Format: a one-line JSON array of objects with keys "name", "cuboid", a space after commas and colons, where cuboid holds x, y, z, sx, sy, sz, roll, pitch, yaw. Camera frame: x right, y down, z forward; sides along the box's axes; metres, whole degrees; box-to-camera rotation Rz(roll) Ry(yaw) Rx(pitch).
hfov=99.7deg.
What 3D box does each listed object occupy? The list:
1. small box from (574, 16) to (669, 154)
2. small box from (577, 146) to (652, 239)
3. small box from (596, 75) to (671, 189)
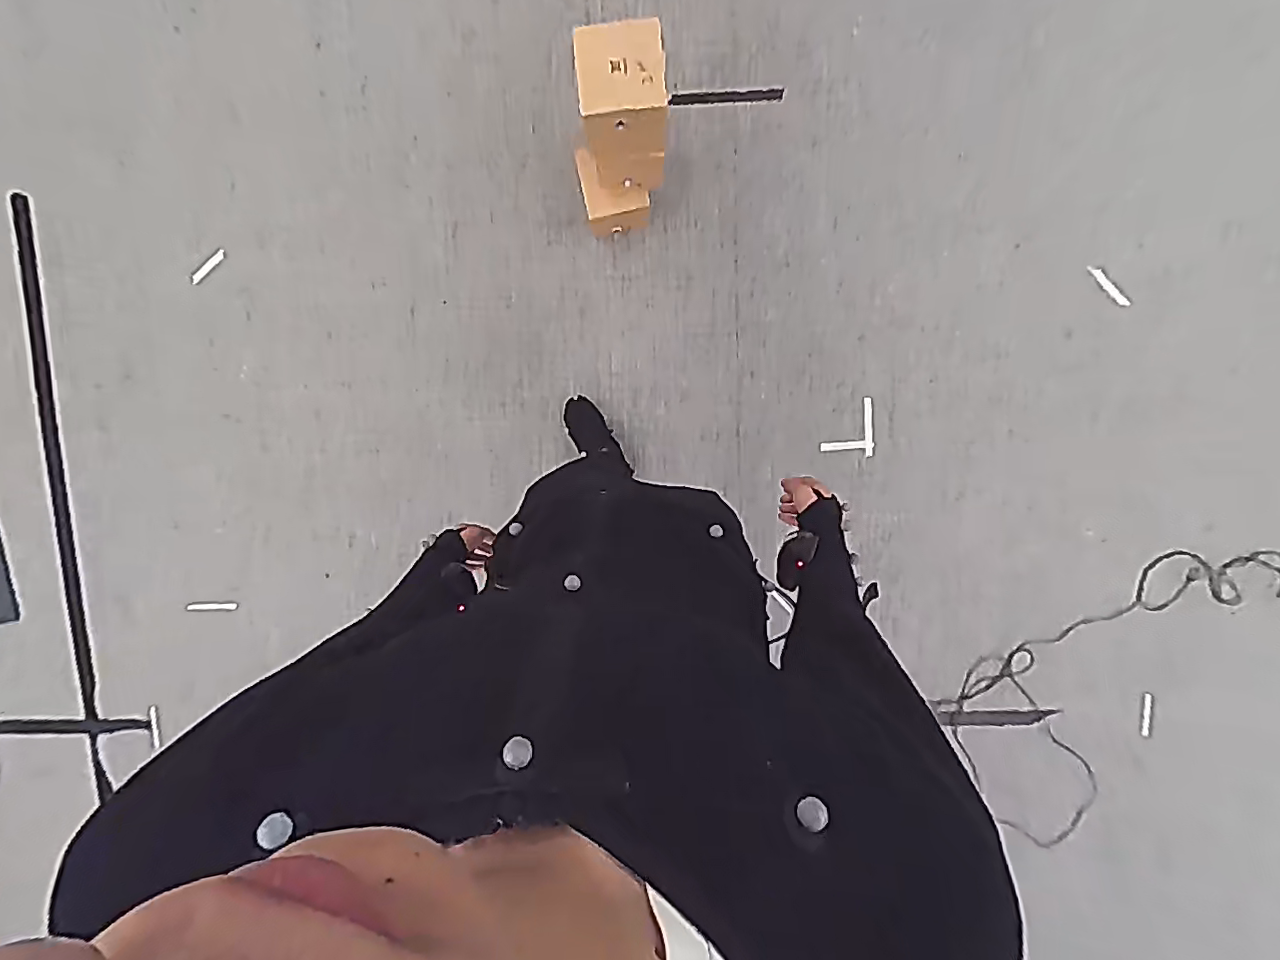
[{"name": "small box", "cuboid": [-0.033, -0.805, 1.120, 0.179, 0.176, 0.168, -5, 95, 2]}, {"name": "small box", "cuboid": [-0.065, -0.778, 1.452, 0.168, 0.176, 0.179, -12, 96, 2]}, {"name": "small box", "cuboid": [-0.016, -0.821, 1.284, 0.168, 0.176, 0.179, 2, 96, 1]}]
